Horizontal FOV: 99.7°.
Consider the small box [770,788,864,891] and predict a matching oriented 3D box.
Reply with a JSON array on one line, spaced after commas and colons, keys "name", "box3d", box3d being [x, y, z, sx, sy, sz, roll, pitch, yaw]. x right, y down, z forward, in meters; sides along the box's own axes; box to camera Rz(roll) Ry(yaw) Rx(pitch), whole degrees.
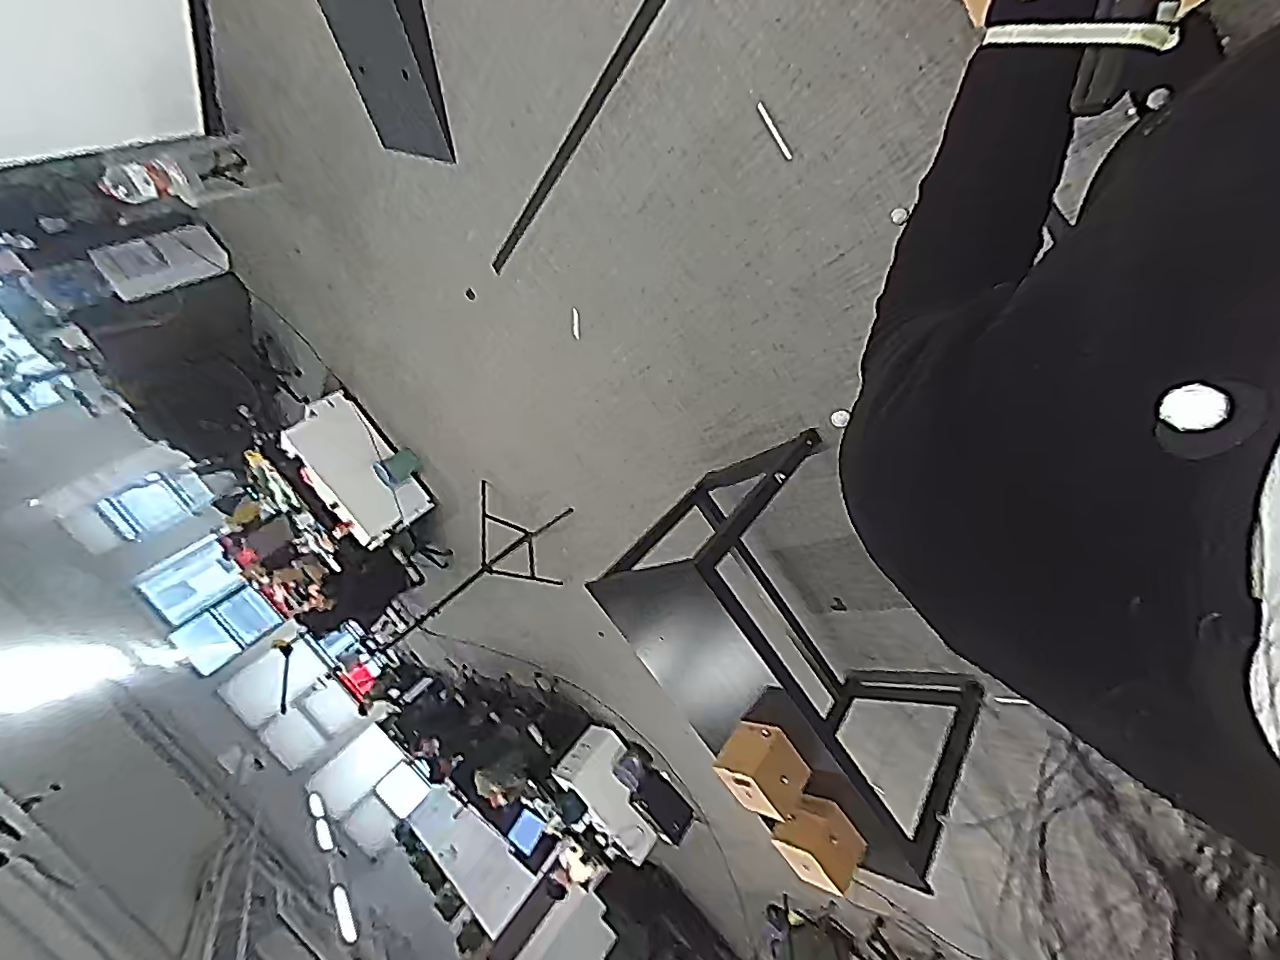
[{"name": "small box", "box3d": [0.531, 1.060, 1.613, 0.179, 0.176, 0.168, 53, 146, -7]}]

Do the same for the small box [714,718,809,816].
[{"name": "small box", "box3d": [0.355, 0.826, 1.576, 0.179, 0.176, 0.168, 54, 145, -10]}]
